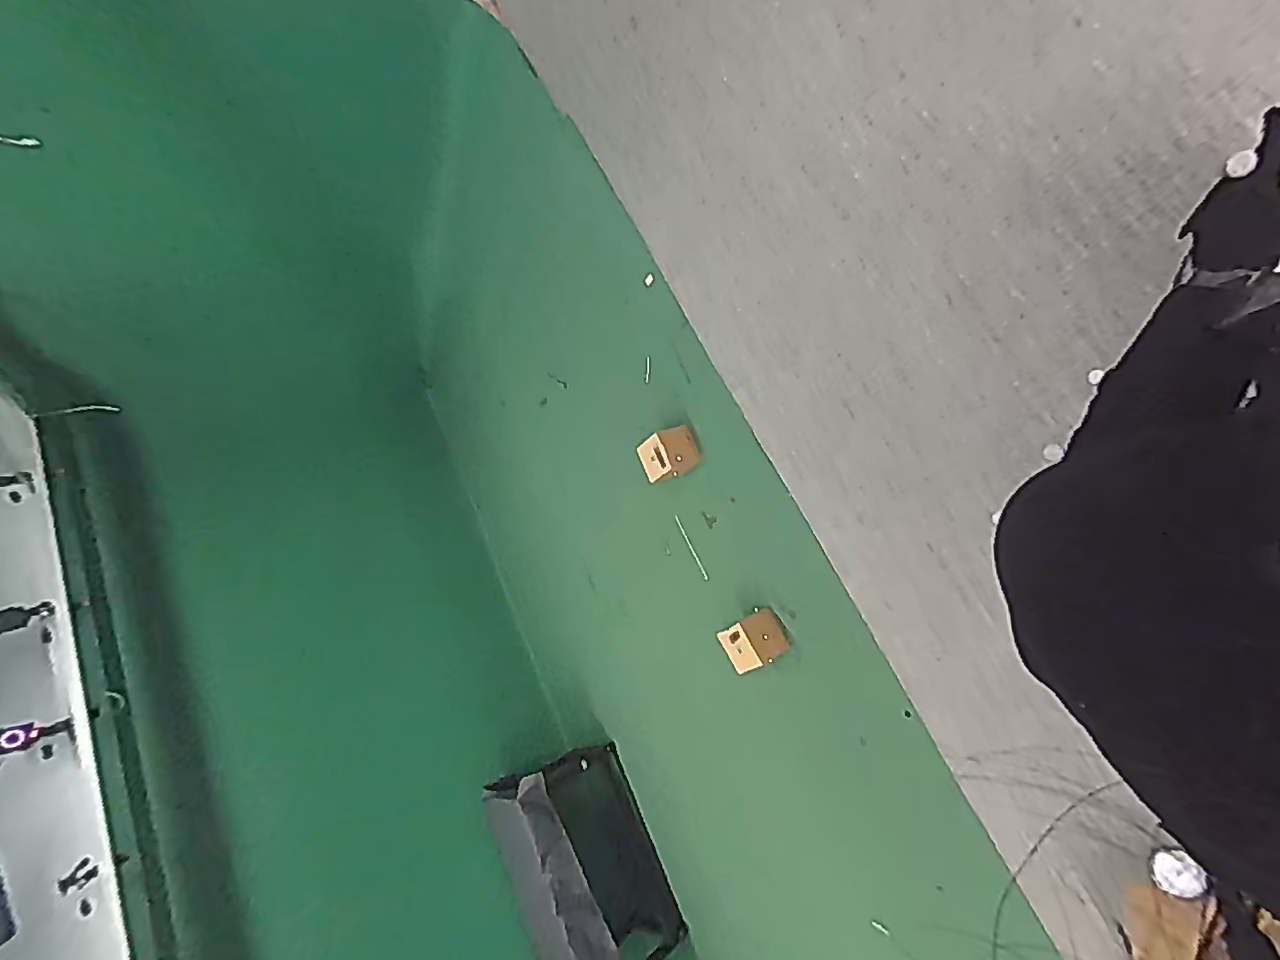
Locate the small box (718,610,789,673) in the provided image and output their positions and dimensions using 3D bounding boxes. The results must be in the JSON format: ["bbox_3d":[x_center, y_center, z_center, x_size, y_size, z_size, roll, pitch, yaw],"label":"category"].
[{"bbox_3d":[0.450,0.631,2.132,0.179,0.176,0.168,60,143,16],"label":"small box"}]
